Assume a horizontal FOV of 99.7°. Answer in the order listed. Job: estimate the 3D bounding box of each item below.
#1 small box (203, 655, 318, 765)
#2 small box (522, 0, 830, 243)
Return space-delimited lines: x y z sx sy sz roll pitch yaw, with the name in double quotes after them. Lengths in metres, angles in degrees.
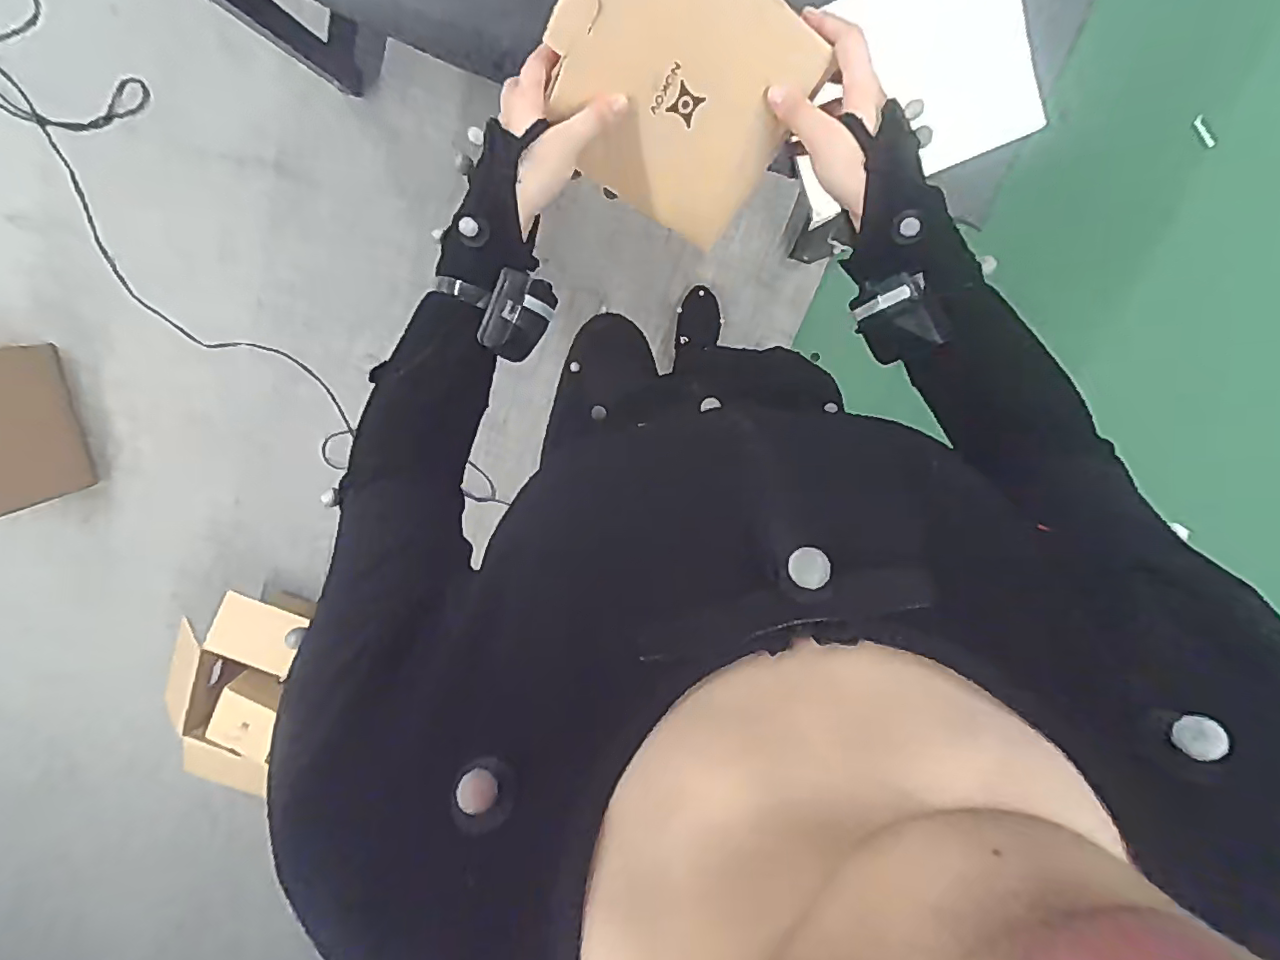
-0.996 0.602 1.437 0.168 0.176 0.179 29 105 -4 "small box"
0.021 -0.345 0.454 0.179 0.176 0.168 21 133 -23 "small box"
